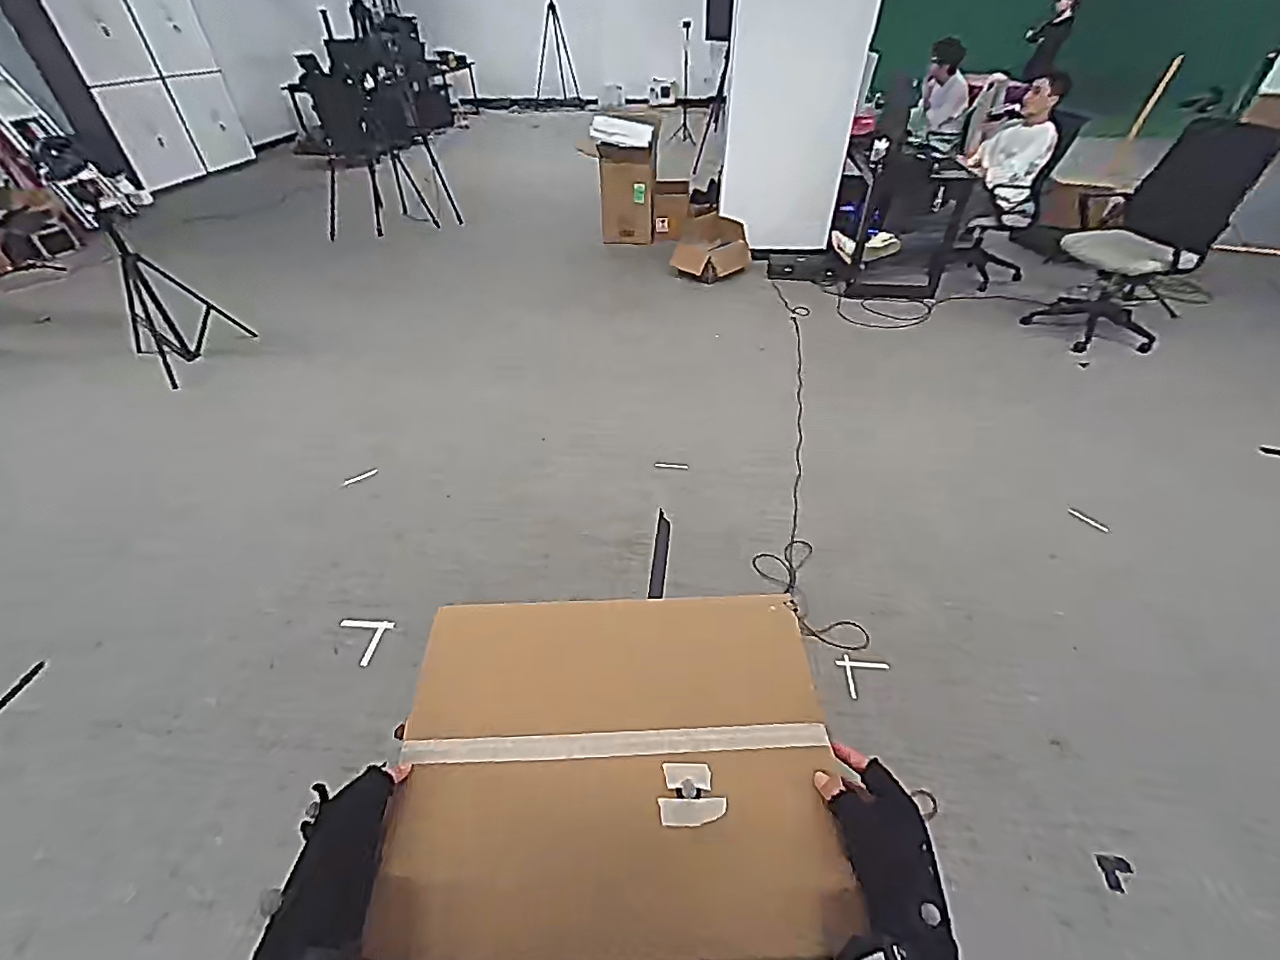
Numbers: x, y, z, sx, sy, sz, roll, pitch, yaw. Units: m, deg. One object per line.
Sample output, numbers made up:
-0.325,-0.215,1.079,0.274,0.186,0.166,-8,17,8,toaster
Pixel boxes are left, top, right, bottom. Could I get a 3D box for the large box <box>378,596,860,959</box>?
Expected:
-0.023,0.360,0.647,0.408,0.320,0.320,-2,47,-1,large box
